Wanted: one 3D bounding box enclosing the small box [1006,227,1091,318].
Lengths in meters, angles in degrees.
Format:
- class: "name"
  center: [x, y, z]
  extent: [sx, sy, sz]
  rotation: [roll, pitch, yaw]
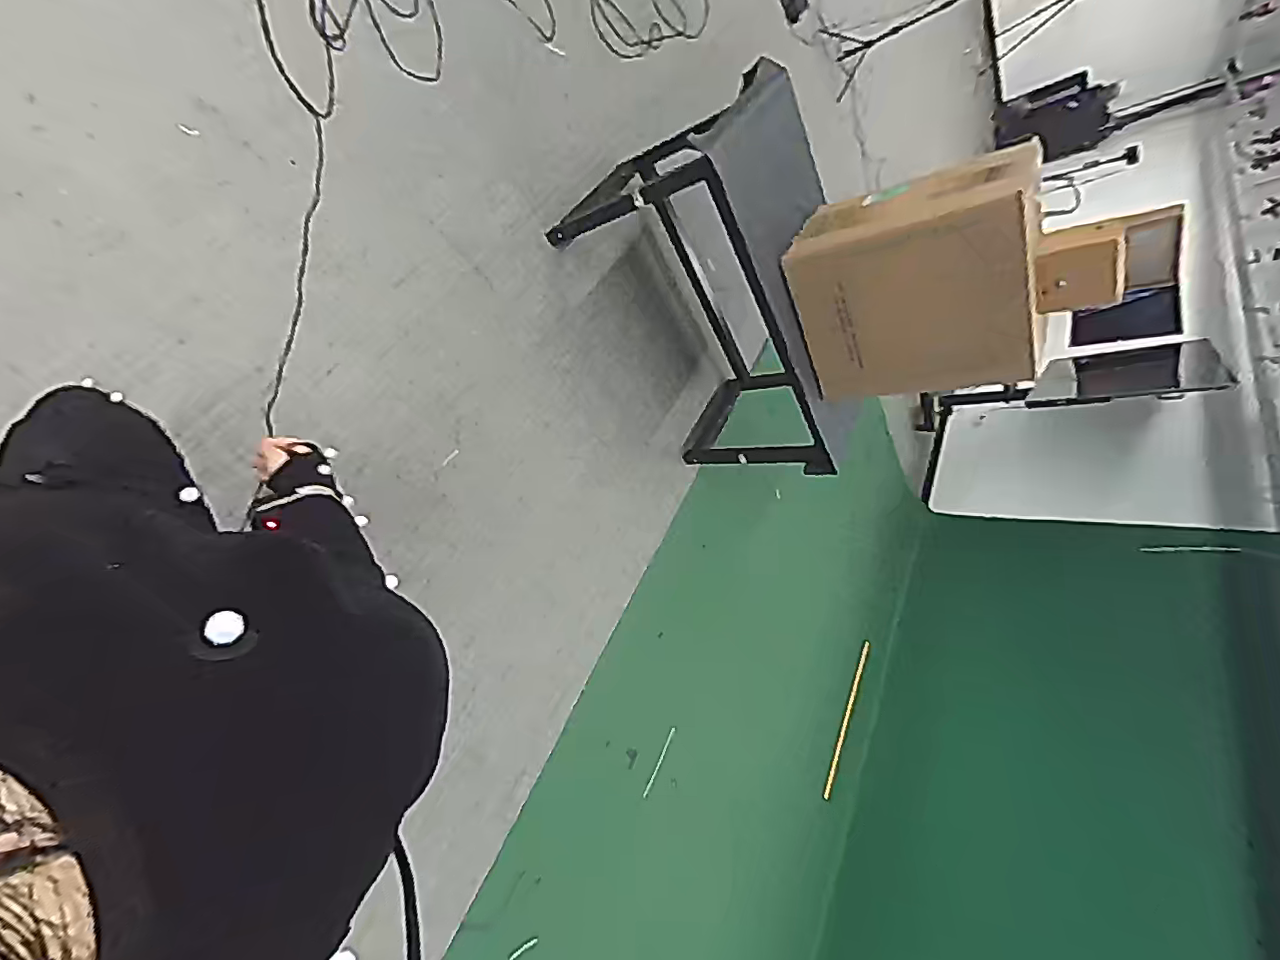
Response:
- class: "small box"
  center: [1.096, -0.555, 1.454]
  extent: [0.179, 0.176, 0.168]
  rotation: [-47, 125, -36]
